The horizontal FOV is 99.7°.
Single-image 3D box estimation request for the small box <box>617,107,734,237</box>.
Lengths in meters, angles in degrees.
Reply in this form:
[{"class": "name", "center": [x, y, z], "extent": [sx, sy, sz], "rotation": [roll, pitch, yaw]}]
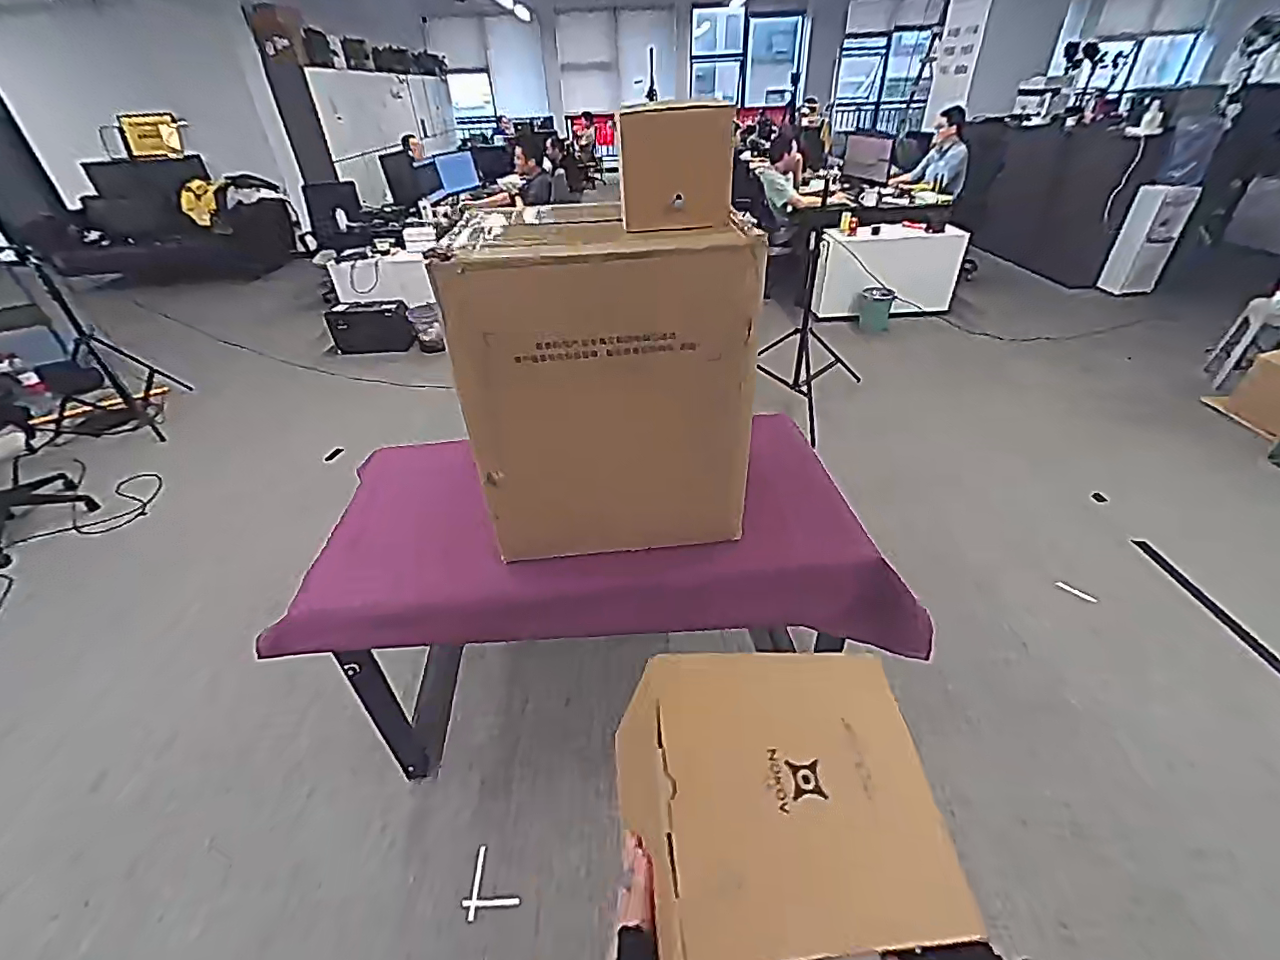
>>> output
[{"class": "small box", "center": [0.053, -0.523, 0.917], "extent": [0.179, 0.176, 0.168], "rotation": [-5, 36, -2]}]
